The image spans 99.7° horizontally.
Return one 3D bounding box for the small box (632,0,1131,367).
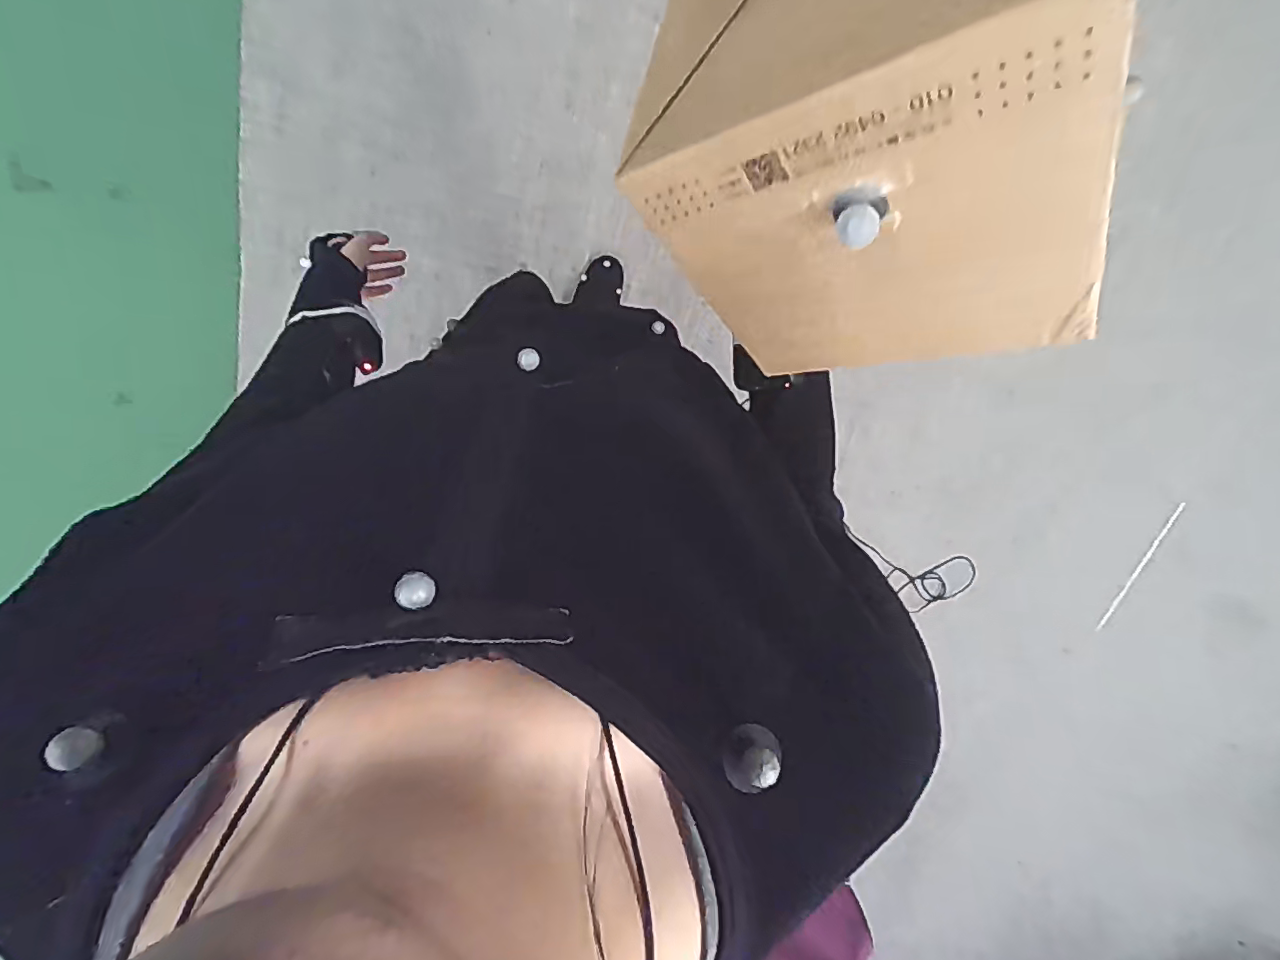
[{"bbox_3d":[0.121,-0.181,0.262,0.176,0.168,0.179,34,65,-46],"label":"small box"}]
